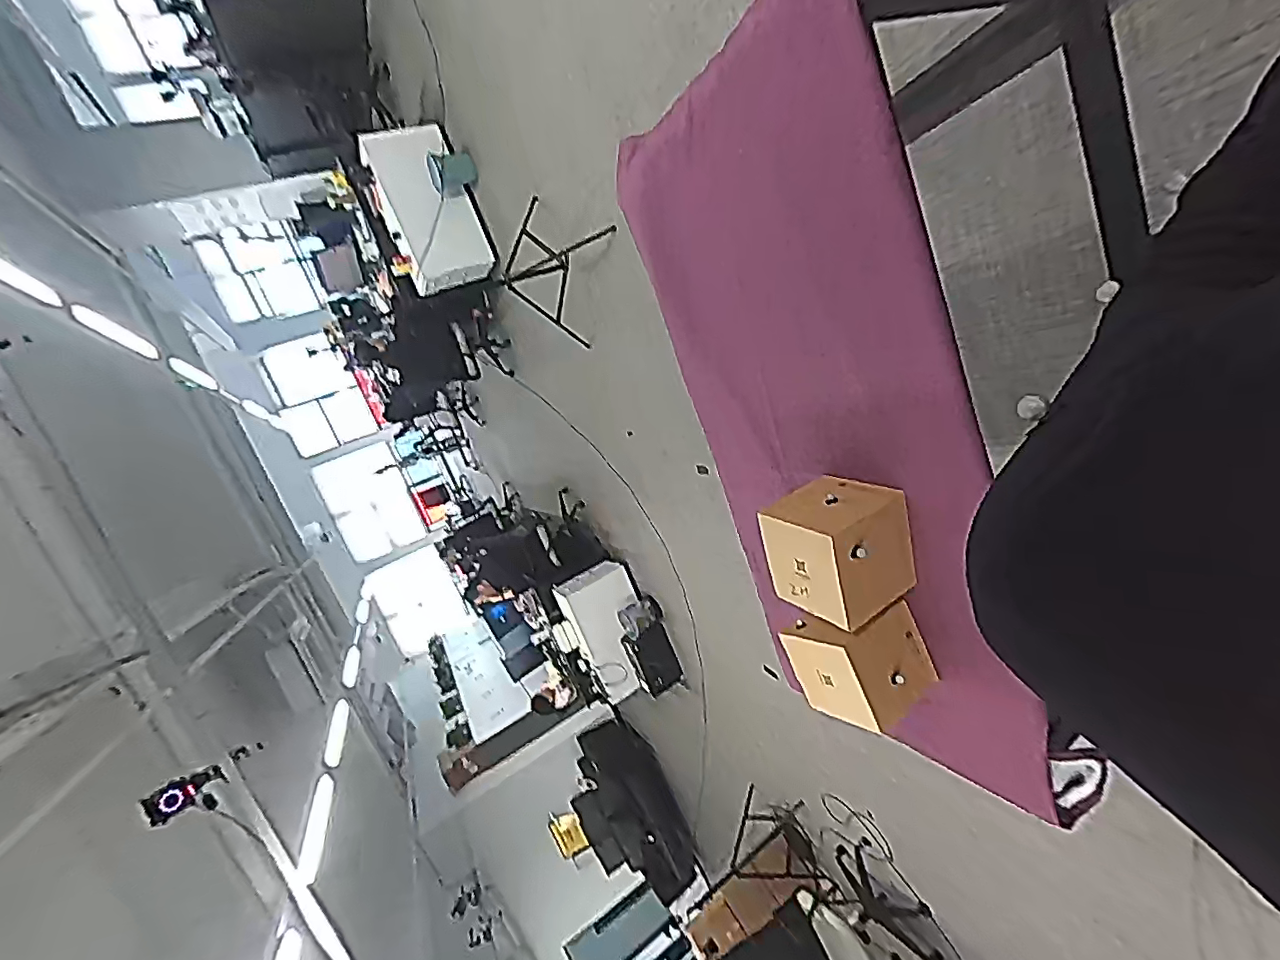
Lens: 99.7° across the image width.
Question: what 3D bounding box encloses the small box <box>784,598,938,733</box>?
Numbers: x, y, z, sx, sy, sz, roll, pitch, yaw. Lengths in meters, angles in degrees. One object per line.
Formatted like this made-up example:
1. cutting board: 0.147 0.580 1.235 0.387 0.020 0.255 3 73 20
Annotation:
1. small box: 0.404 0.317 0.981 0.168 0.176 0.179 65 157 -2

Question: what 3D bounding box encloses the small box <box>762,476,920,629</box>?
1. small box: 0.337 0.108 0.905 0.168 0.176 0.179 20 131 61
